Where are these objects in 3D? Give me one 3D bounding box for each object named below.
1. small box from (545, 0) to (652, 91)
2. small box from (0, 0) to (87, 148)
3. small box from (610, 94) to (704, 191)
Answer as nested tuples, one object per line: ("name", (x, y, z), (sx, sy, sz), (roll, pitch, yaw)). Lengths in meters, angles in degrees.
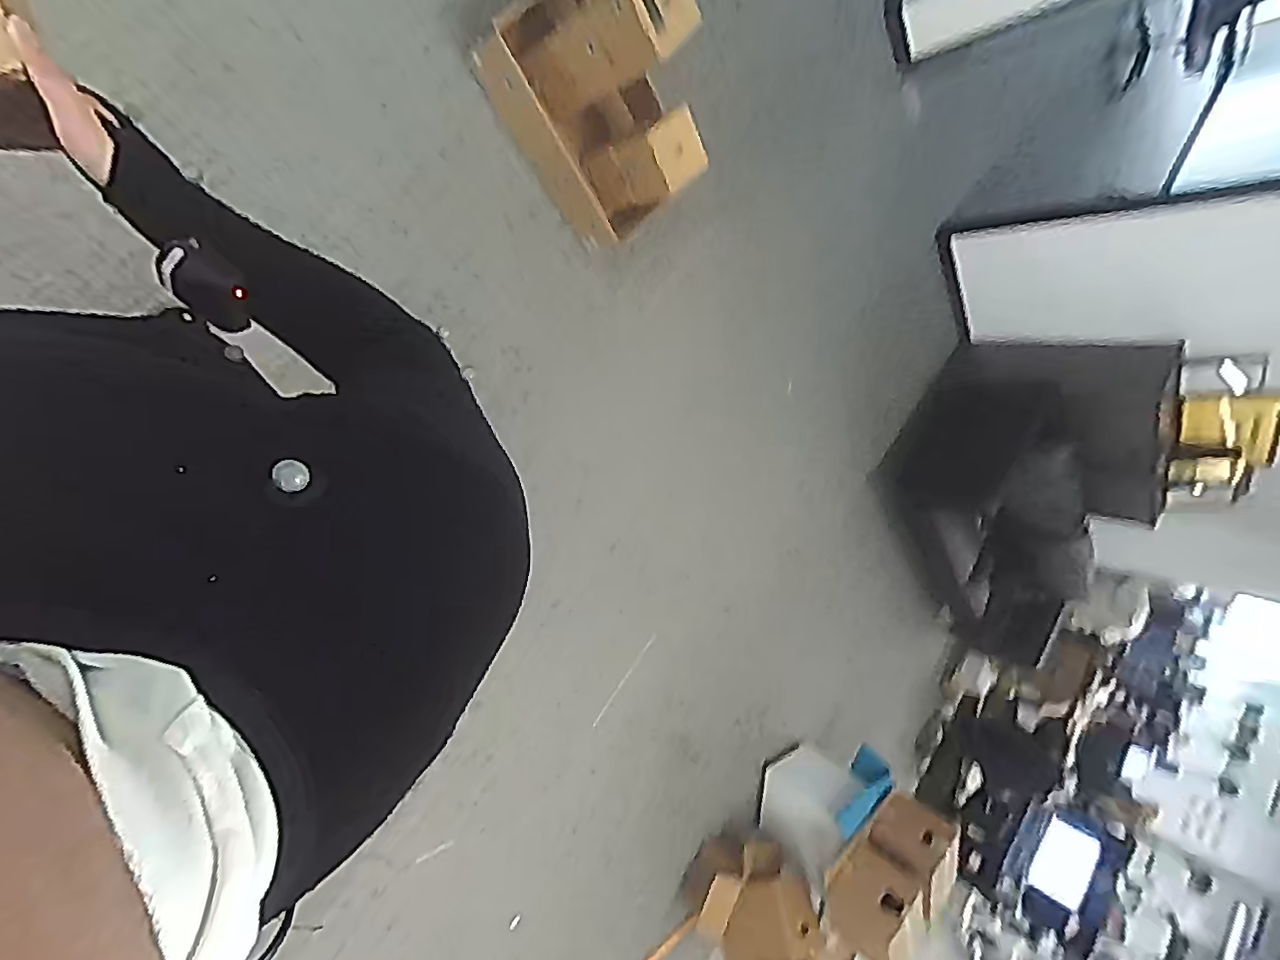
("small box", (-0.109, -1.141, 1.373), (0.179, 0.176, 0.168), (-54, 129, -15))
("small box", (-0.566, -0.377, 0.400), (0.168, 0.176, 0.179), (-17, 109, -32))
("small box", (0.048, -0.963, 1.556), (0.179, 0.176, 0.168), (-47, 128, -17))
